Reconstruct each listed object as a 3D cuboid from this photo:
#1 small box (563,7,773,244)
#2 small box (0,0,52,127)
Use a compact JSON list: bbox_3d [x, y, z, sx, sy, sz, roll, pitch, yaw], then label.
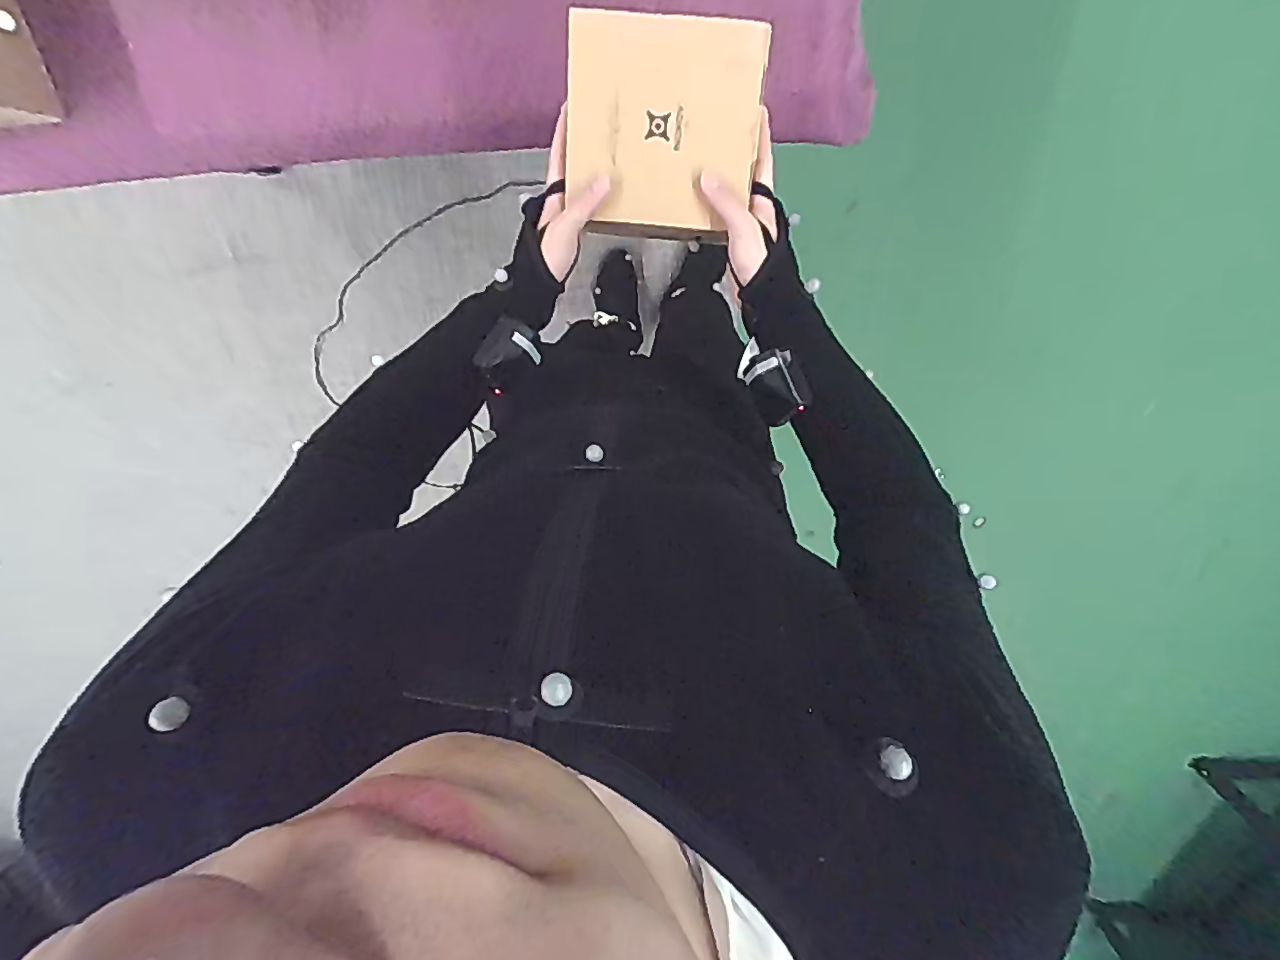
[{"bbox_3d":[0.023,-0.342,0.558,0.179,0.176,0.168,5,110,1],"label":"small box"},{"bbox_3d":[-0.799,-0.478,0.555,0.168,0.176,0.179,-4,116,2],"label":"small box"}]
